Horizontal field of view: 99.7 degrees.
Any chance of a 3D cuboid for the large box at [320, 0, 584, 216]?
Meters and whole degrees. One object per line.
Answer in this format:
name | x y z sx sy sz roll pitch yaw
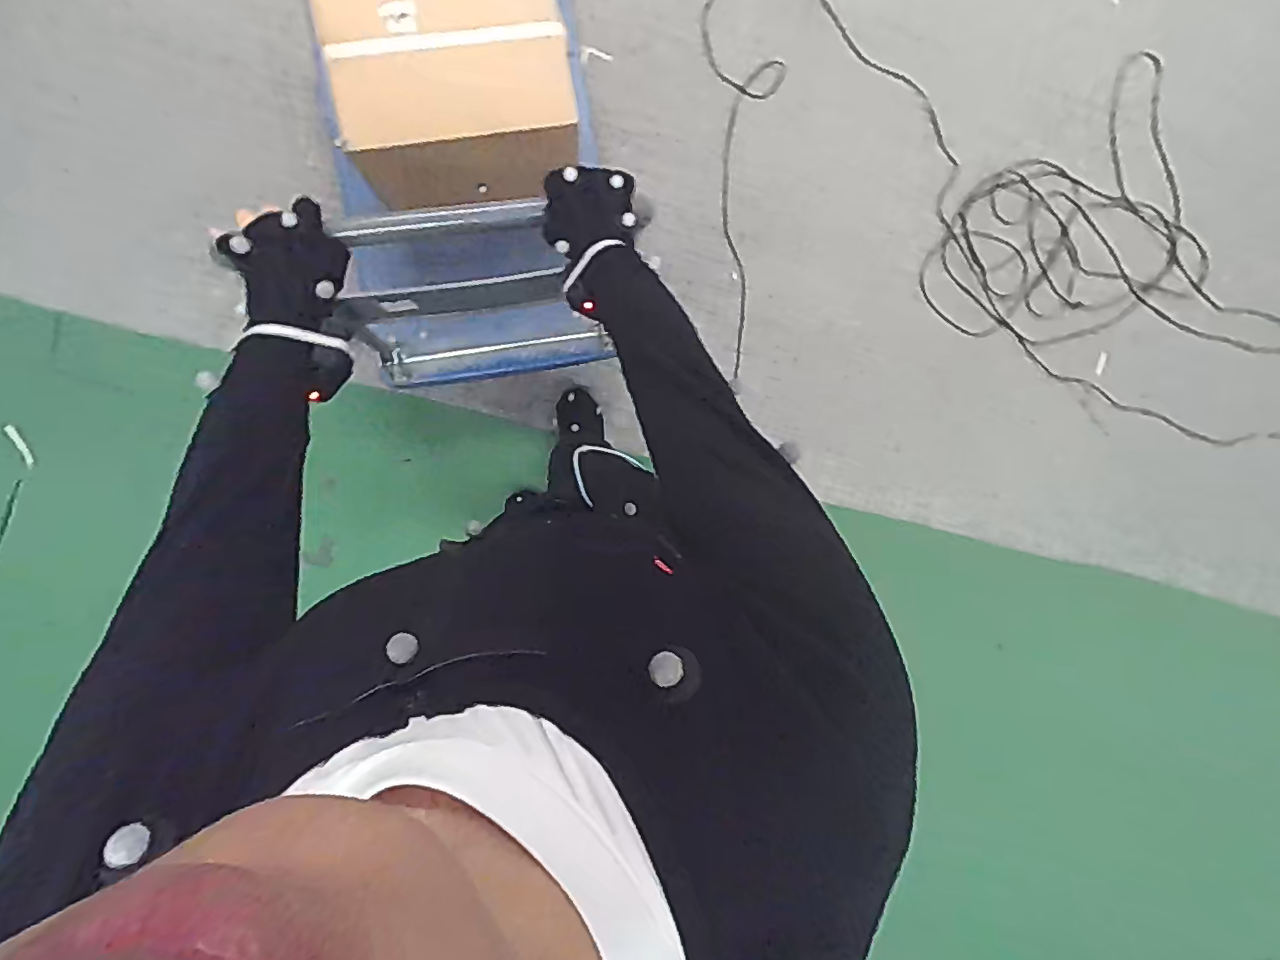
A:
large box | -0.339 -0.764 1.073 0.408 0.320 0.320 -11 94 -6
